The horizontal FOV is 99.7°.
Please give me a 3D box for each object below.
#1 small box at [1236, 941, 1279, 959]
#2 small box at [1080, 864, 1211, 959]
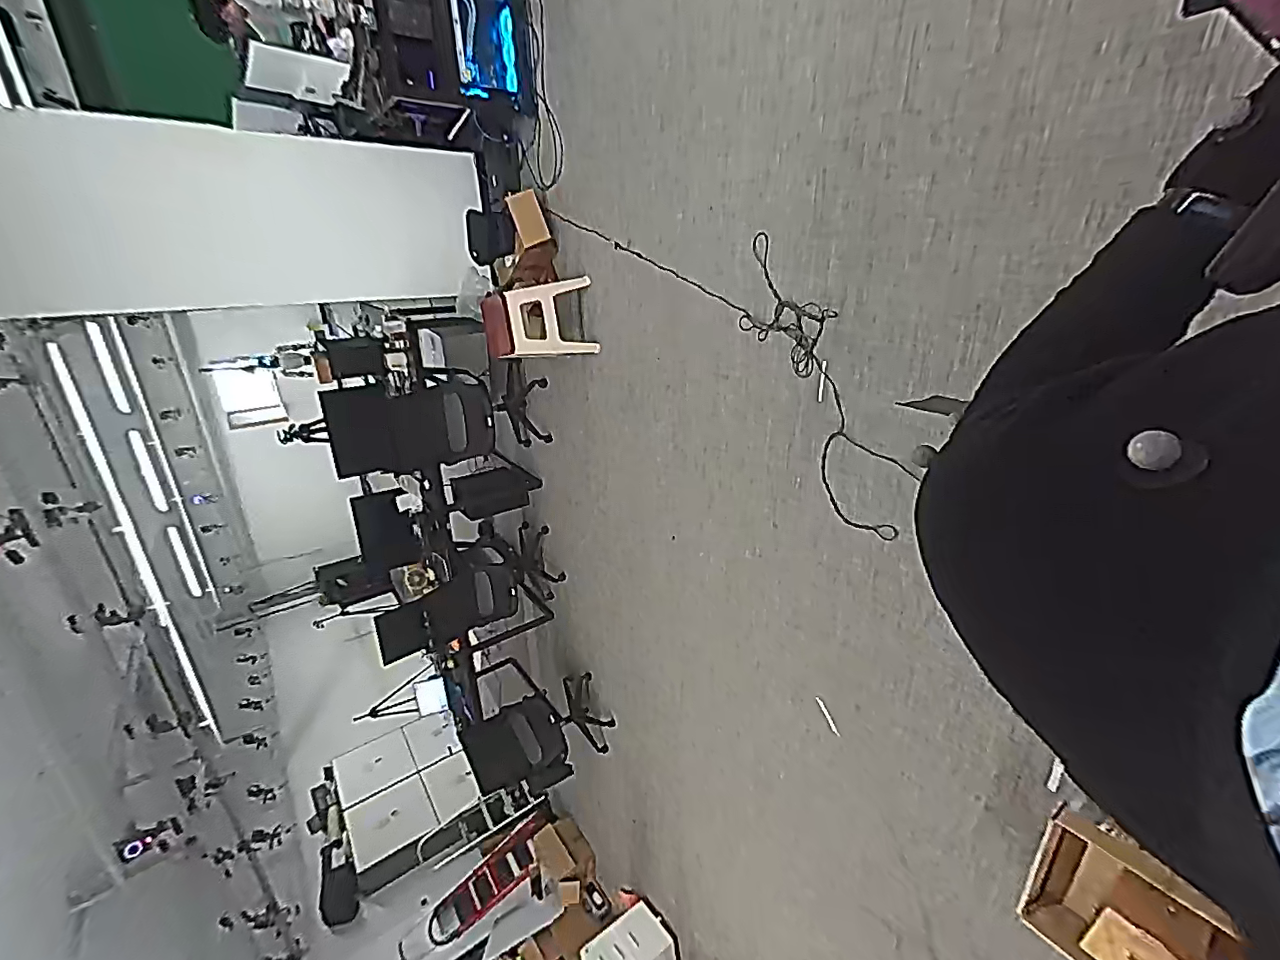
[{"bbox_3d":[1.331,1.125,1.118,0.168,0.176,0.179,25,124,51],"label":"small box"},{"bbox_3d":[1.206,1.080,1.290,0.168,0.176,0.179,32,129,45],"label":"small box"}]
